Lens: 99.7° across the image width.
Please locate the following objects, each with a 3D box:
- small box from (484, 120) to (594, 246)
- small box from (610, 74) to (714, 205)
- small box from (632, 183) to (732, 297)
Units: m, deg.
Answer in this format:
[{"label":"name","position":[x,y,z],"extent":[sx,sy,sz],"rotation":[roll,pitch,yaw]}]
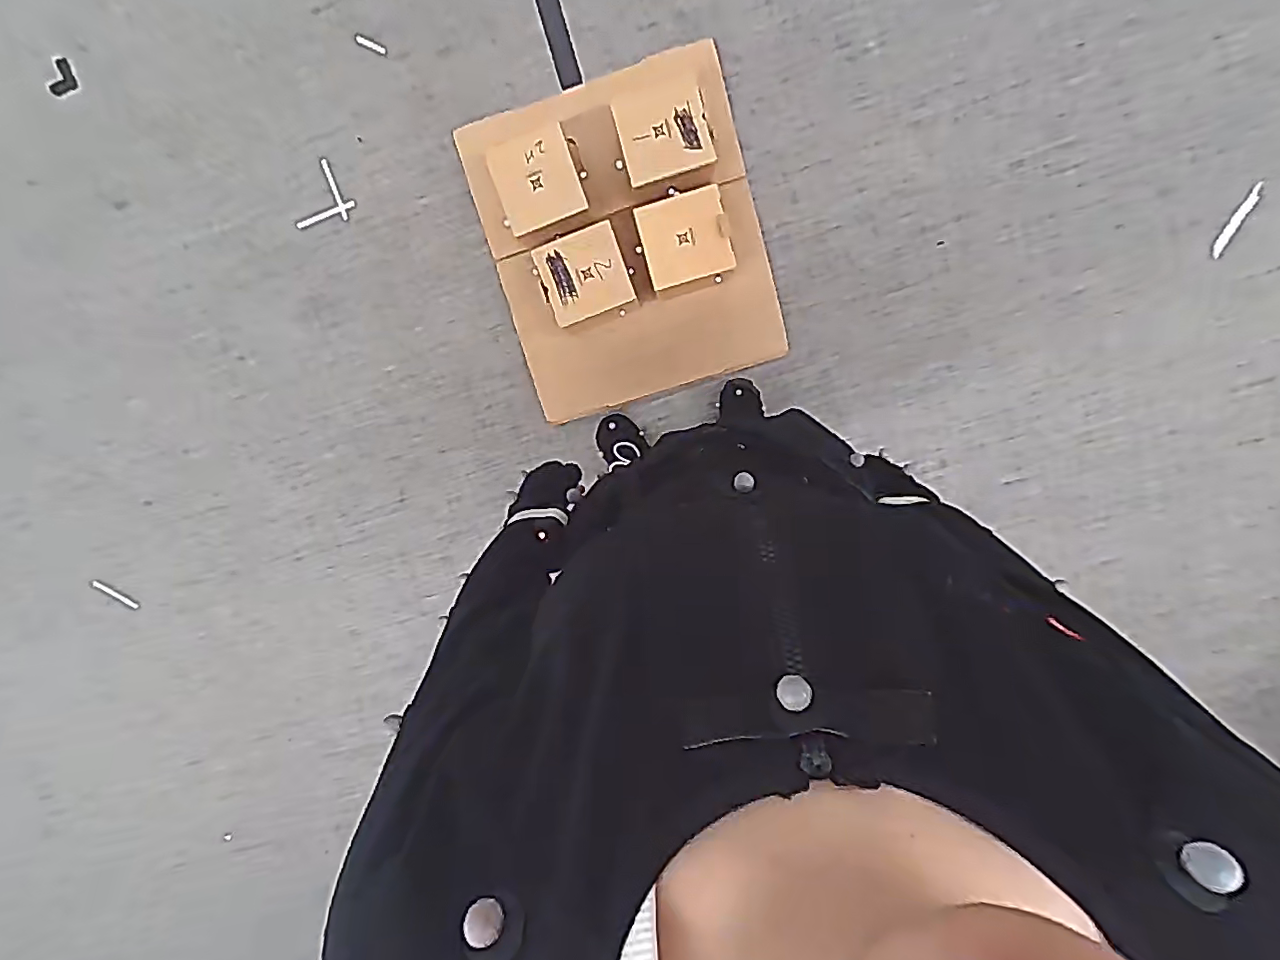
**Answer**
[{"label":"small box","position":[-0.206,-0.622,1.163],"extent":[0.168,0.176,0.179],"rotation":[-18,100,6]},{"label":"small box","position":[0.046,-0.700,1.135],"extent":[0.179,0.176,0.168],"rotation":[-14,101,6]},{"label":"small box","position":[0.088,-0.507,1.168],"extent":[0.179,0.176,0.168],"rotation":[-14,100,4]}]
